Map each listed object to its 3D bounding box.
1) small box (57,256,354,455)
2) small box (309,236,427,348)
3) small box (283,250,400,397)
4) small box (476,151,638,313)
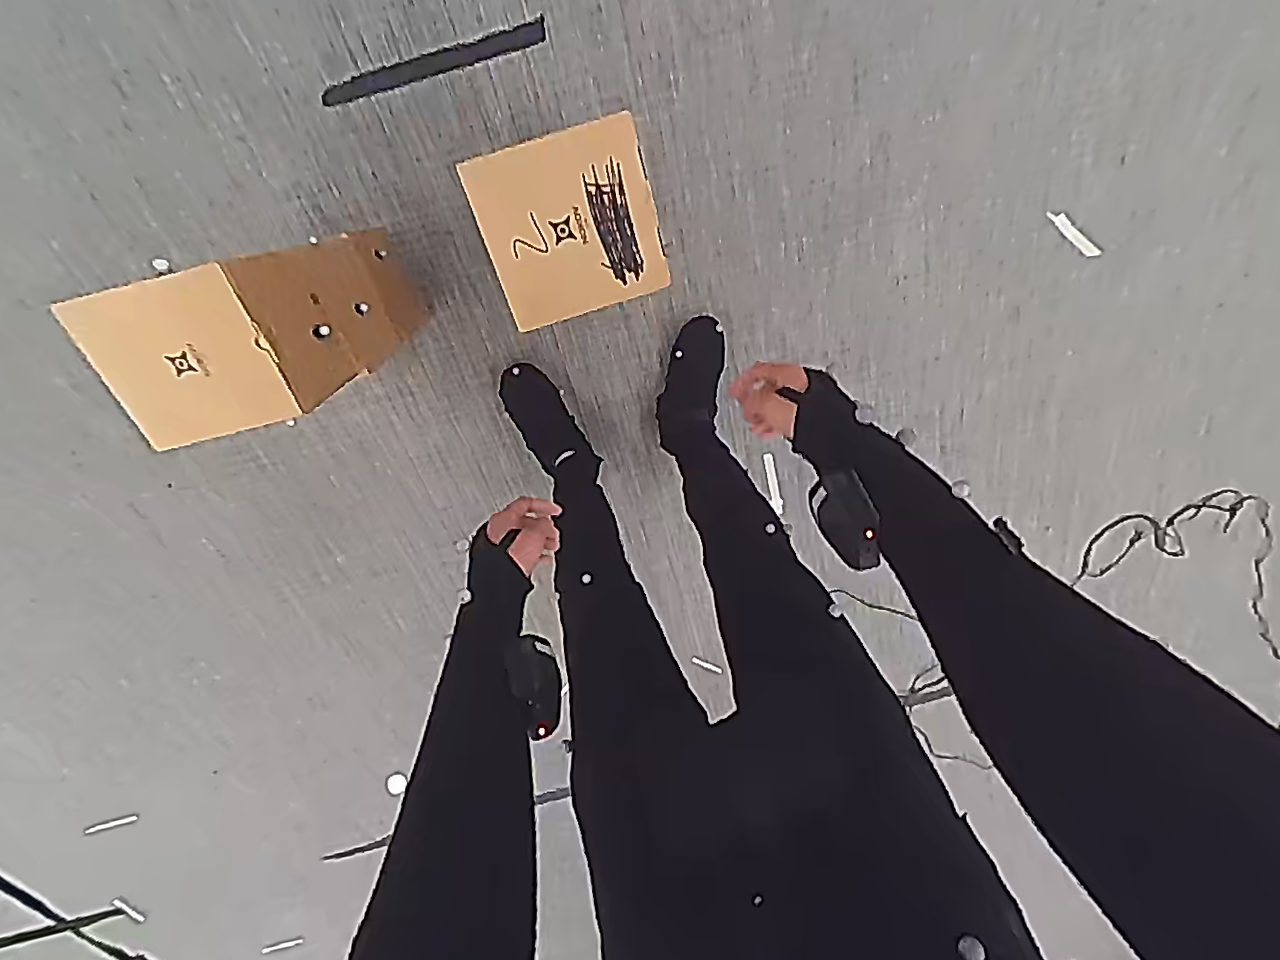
[{"bbox_3d":[-0.477,-0.152,0.632,0.179,0.176,0.168,-15,118,0],"label":"small box"},{"bbox_3d":[-0.494,-0.301,0.922,0.168,0.176,0.179,-21,118,4],"label":"small box"},{"bbox_3d":[-0.481,-0.220,0.780,0.168,0.176,0.179,-19,119,3],"label":"small box"},{"bbox_3d":[-0.114,-0.350,0.762,0.179,0.176,0.168,-14,118,-2],"label":"small box"}]
